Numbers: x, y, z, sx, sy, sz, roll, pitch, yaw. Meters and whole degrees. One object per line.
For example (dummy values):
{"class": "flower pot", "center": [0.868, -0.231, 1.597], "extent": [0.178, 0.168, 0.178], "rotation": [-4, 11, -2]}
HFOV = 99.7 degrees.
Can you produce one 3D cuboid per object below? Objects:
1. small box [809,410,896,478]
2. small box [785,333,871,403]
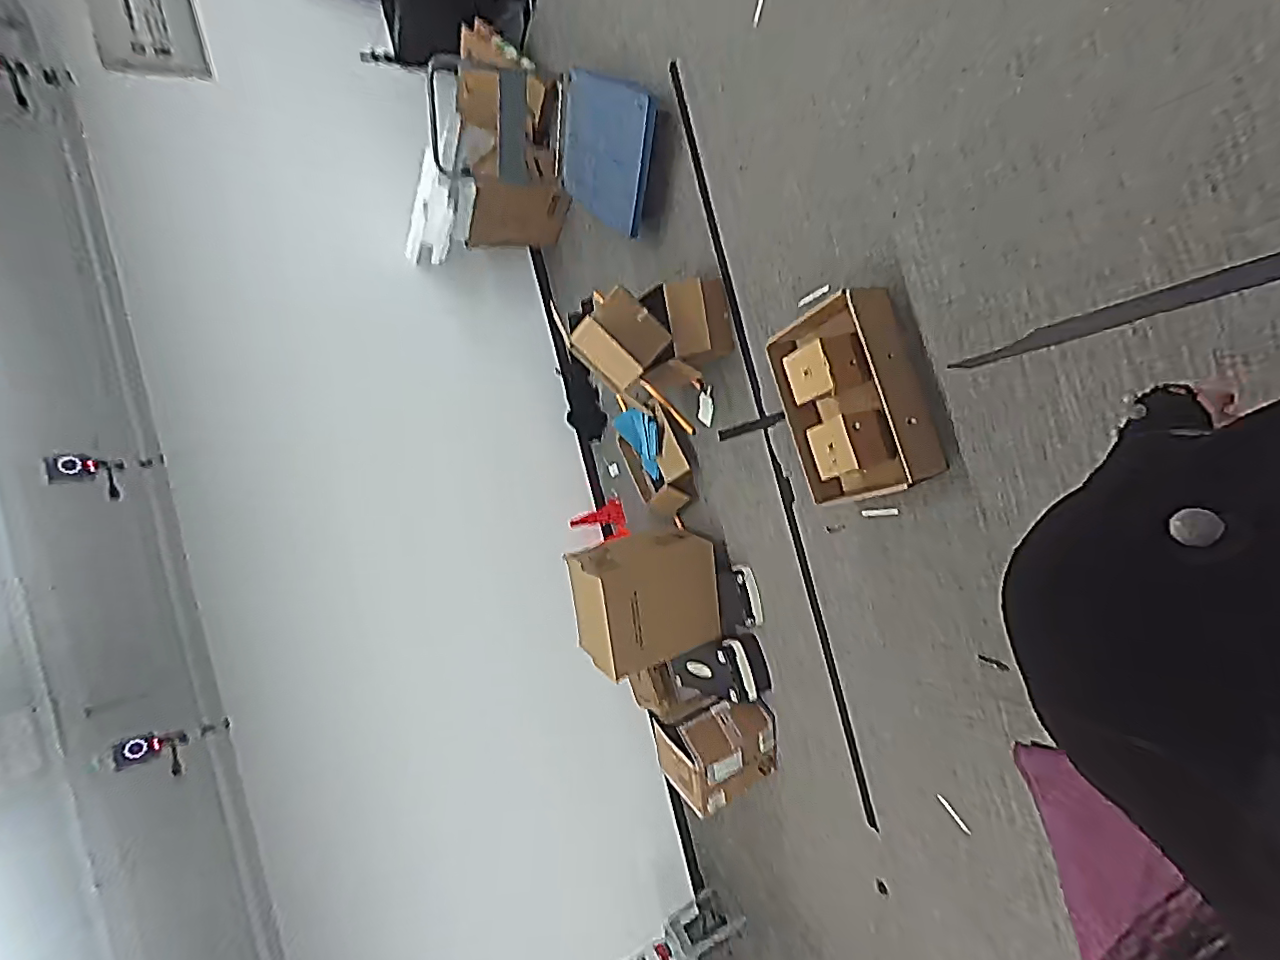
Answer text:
{"class": "small box", "center": [0.689, -0.119, 1.754], "extent": [0.168, 0.176, 0.179], "rotation": [-30, 74, 64]}
{"class": "small box", "center": [0.617, -0.368, 1.778], "extent": [0.179, 0.176, 0.168], "rotation": [-26, 80, 63]}
